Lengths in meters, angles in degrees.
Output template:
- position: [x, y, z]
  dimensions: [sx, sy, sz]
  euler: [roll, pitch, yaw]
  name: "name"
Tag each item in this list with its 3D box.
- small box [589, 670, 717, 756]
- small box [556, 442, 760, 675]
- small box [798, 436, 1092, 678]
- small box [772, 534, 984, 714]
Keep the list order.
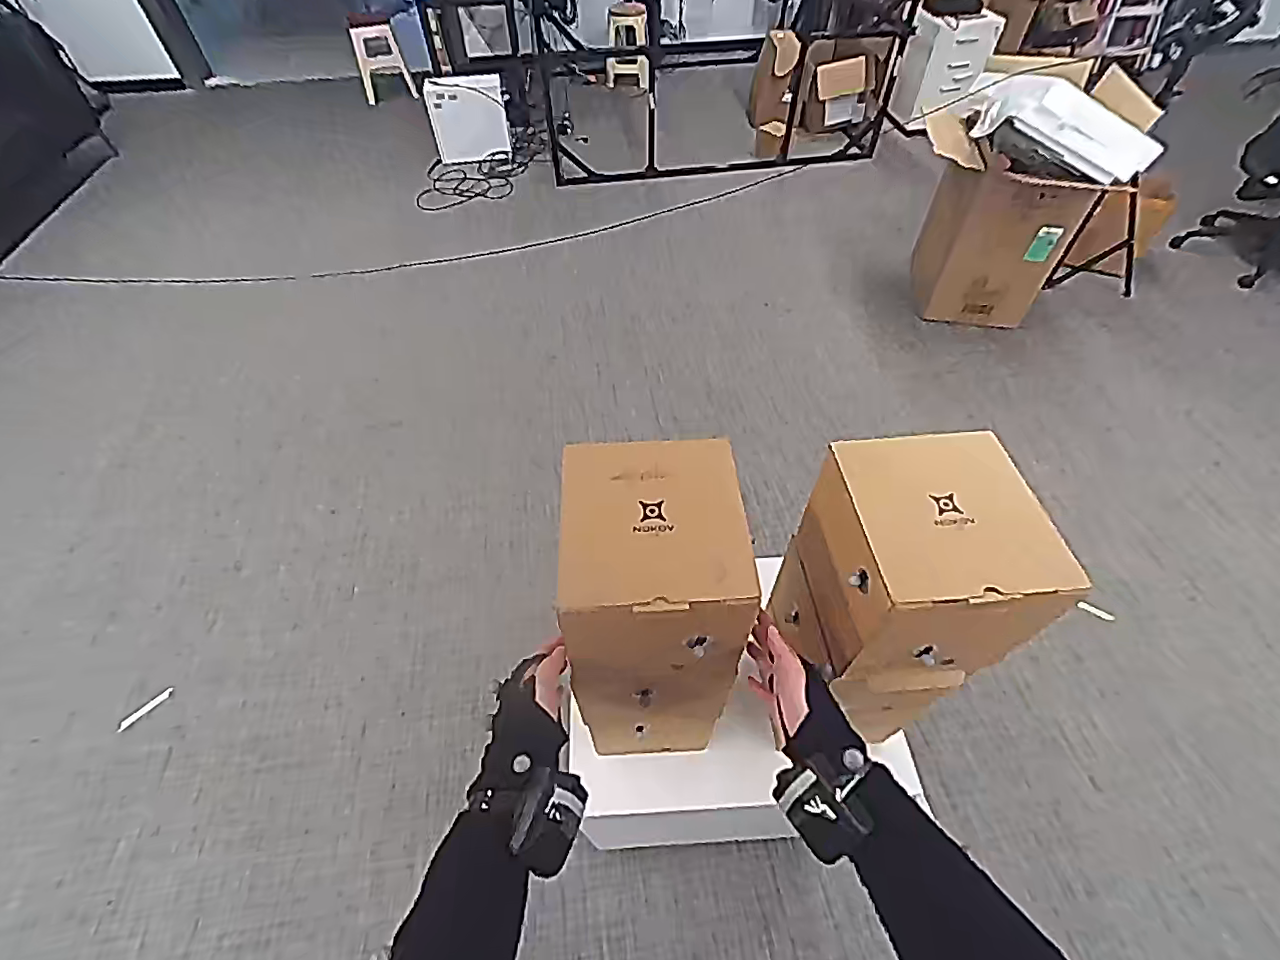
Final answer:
- position: [0.014, 0.289, 0.793]
  dimensions: [0.168, 0.176, 0.179]
  euler: [-2, 51, -1]
  name: "small box"
- position: [0.012, 0.084, 0.537]
  dimensions: [0.168, 0.176, 0.179]
  euler: [-2, 51, -2]
  name: "small box"
- position: [0.271, 0.078, 0.538]
  dimensions: [0.168, 0.176, 0.179]
  euler: [-4, 52, -2]
  name: "small box"
- position: [0.273, 0.177, 0.667]
  dimensions: [0.168, 0.176, 0.179]
  euler: [-4, 51, -2]
  name: "small box"
